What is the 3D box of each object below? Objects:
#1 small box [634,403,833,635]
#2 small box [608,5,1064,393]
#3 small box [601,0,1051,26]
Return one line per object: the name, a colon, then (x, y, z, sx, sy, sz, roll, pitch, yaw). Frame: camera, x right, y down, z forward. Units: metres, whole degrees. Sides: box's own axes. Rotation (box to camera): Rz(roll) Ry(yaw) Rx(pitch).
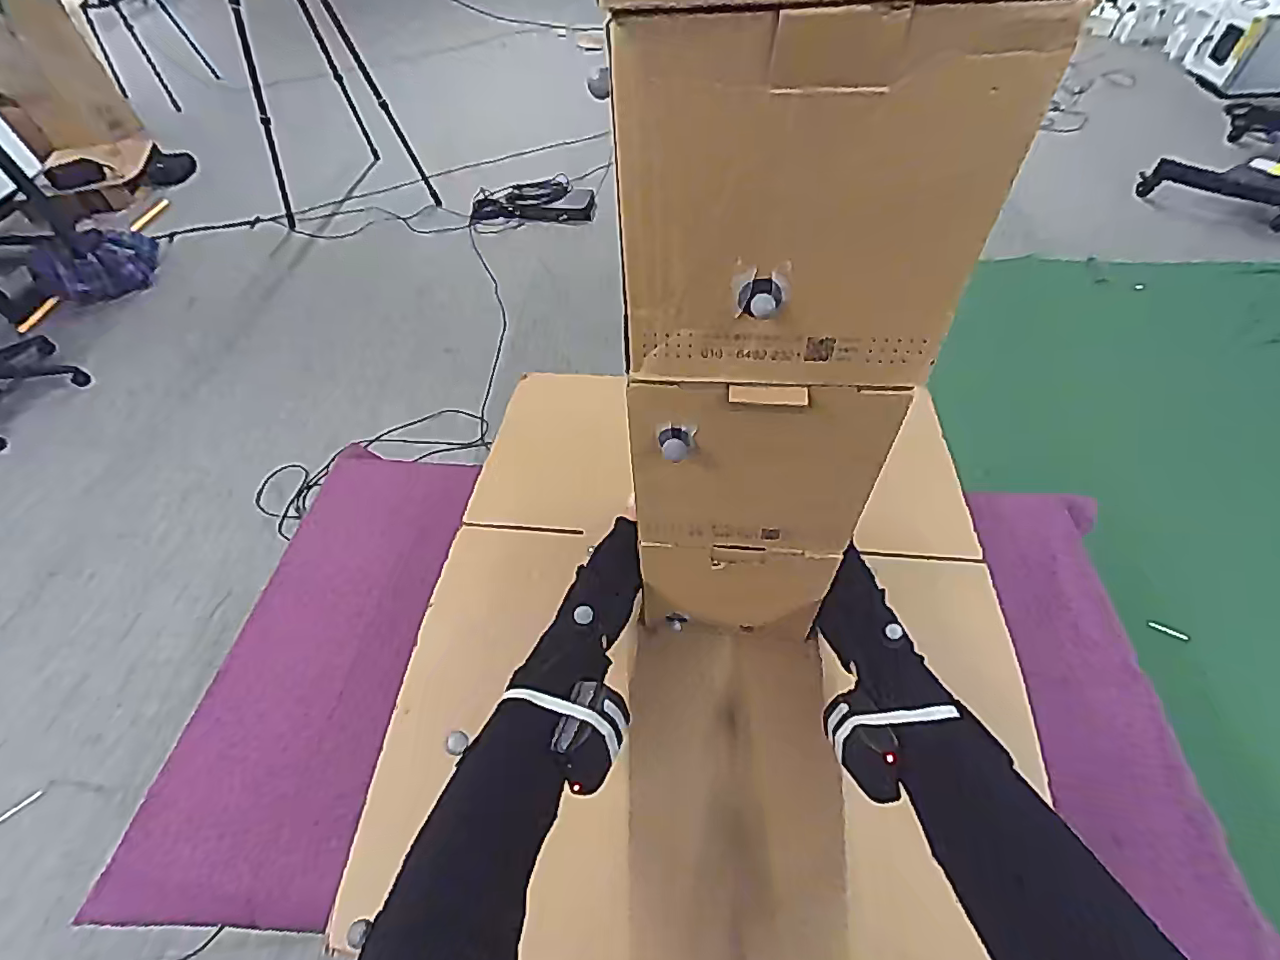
small box: (0.090, 0.043, 0.555, 0.168, 0.176, 0.179, 3, 50, 6)
small box: (0.077, -0.172, 0.309, 0.168, 0.176, 0.179, 2, 50, 4)
small box: (0.066, -0.277, 0.183, 0.168, 0.176, 0.179, 1, 50, 4)
